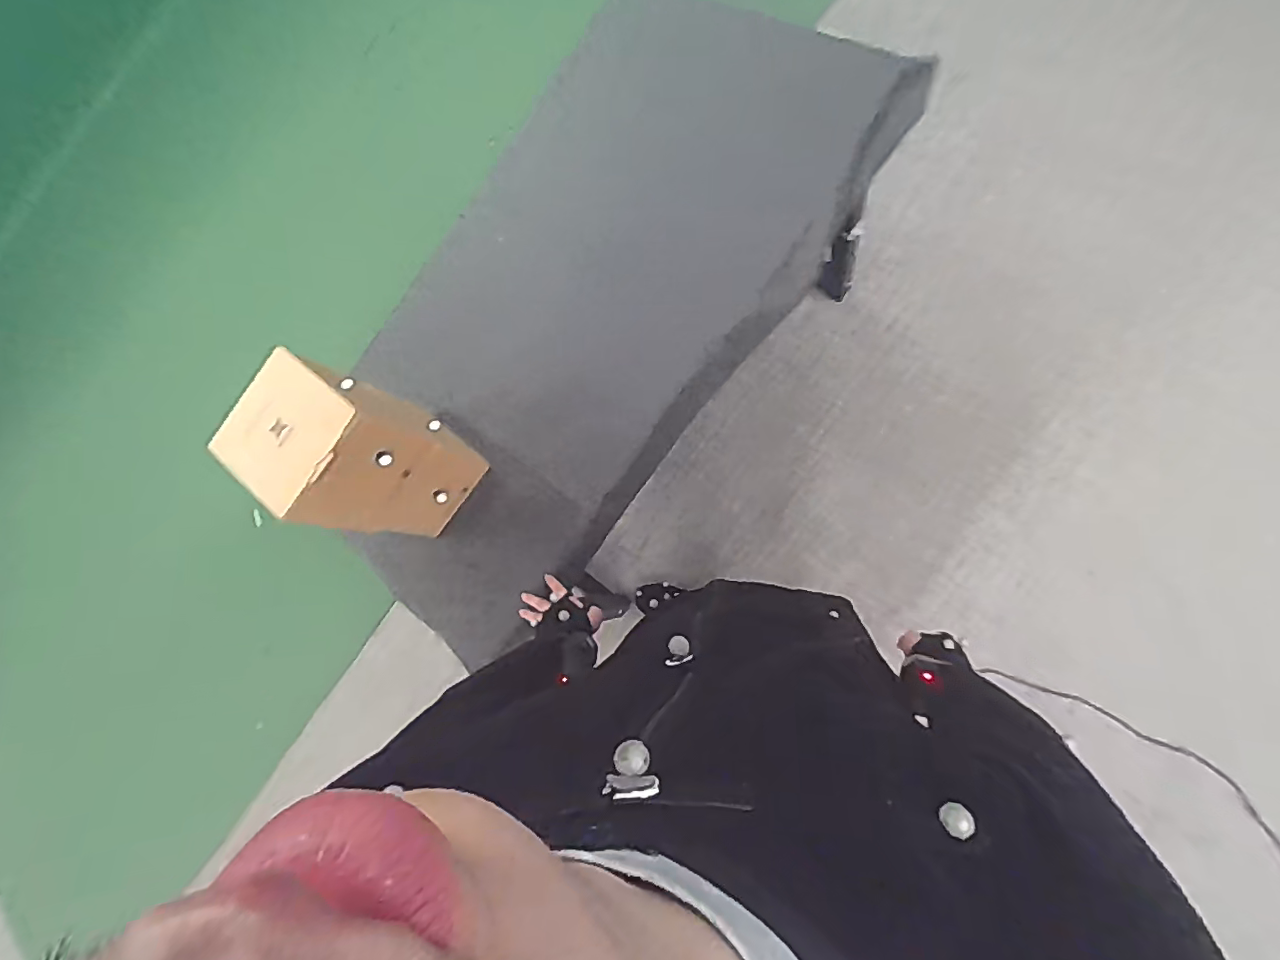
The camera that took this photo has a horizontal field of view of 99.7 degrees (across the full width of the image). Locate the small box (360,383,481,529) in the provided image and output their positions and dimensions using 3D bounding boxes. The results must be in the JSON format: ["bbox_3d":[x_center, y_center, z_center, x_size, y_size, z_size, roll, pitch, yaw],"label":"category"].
[{"bbox_3d":[-0.406,-0.030,0.914,0.179,0.176,0.168,37,90,19],"label":"small box"}]

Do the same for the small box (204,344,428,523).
[{"bbox_3d":[-0.438,-0.053,0.756,0.179,0.176,0.168,35,89,20],"label":"small box"}]
